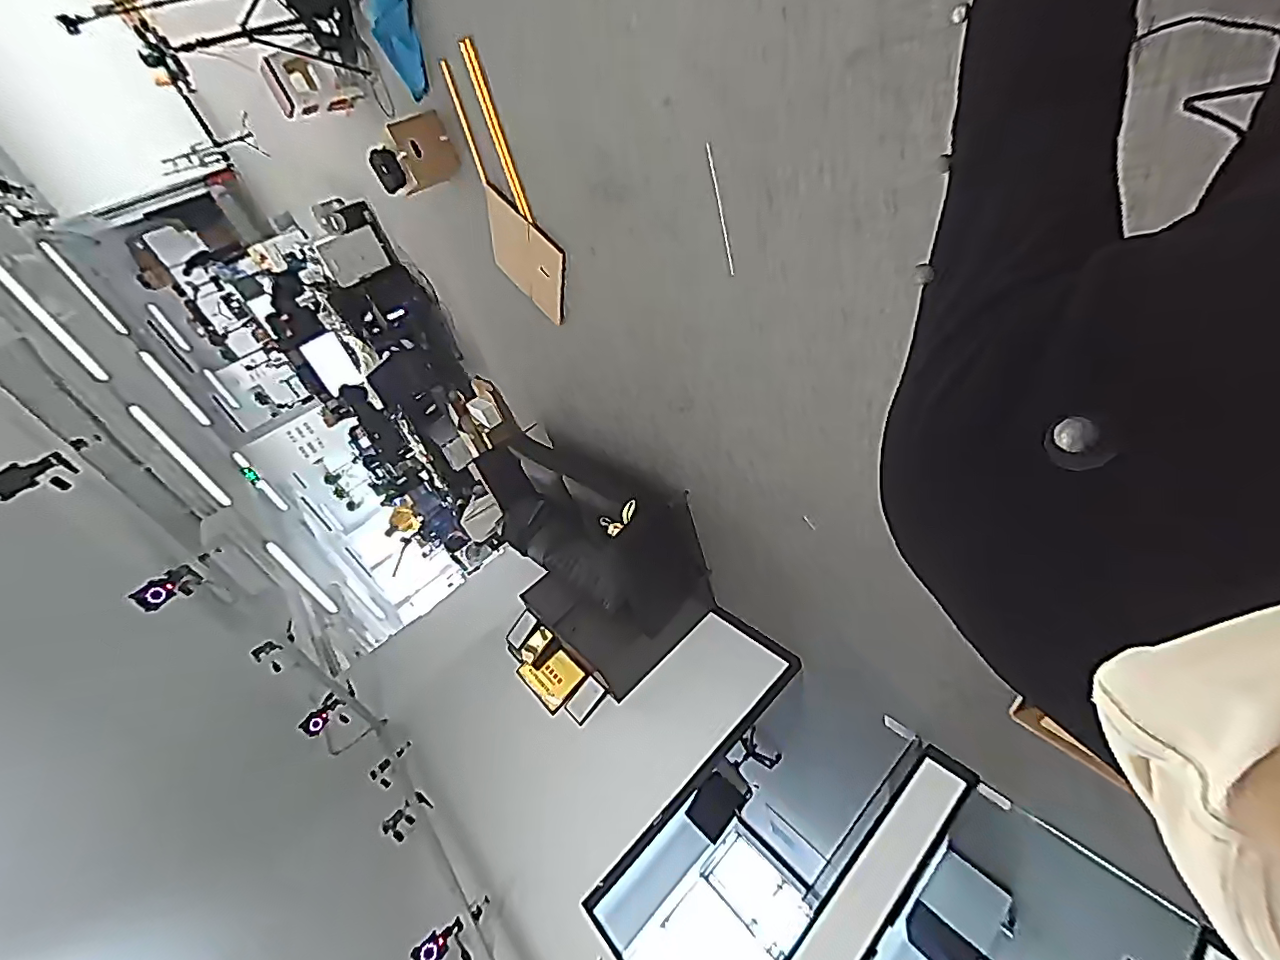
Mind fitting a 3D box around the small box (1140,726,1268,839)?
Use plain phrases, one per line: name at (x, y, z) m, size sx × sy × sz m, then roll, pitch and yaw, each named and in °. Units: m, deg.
small box at (1.495, 0.797, 1.435) m, size 0.179 × 0.176 × 0.168 m, roll 30°, pitch 149°, yaw 38°
